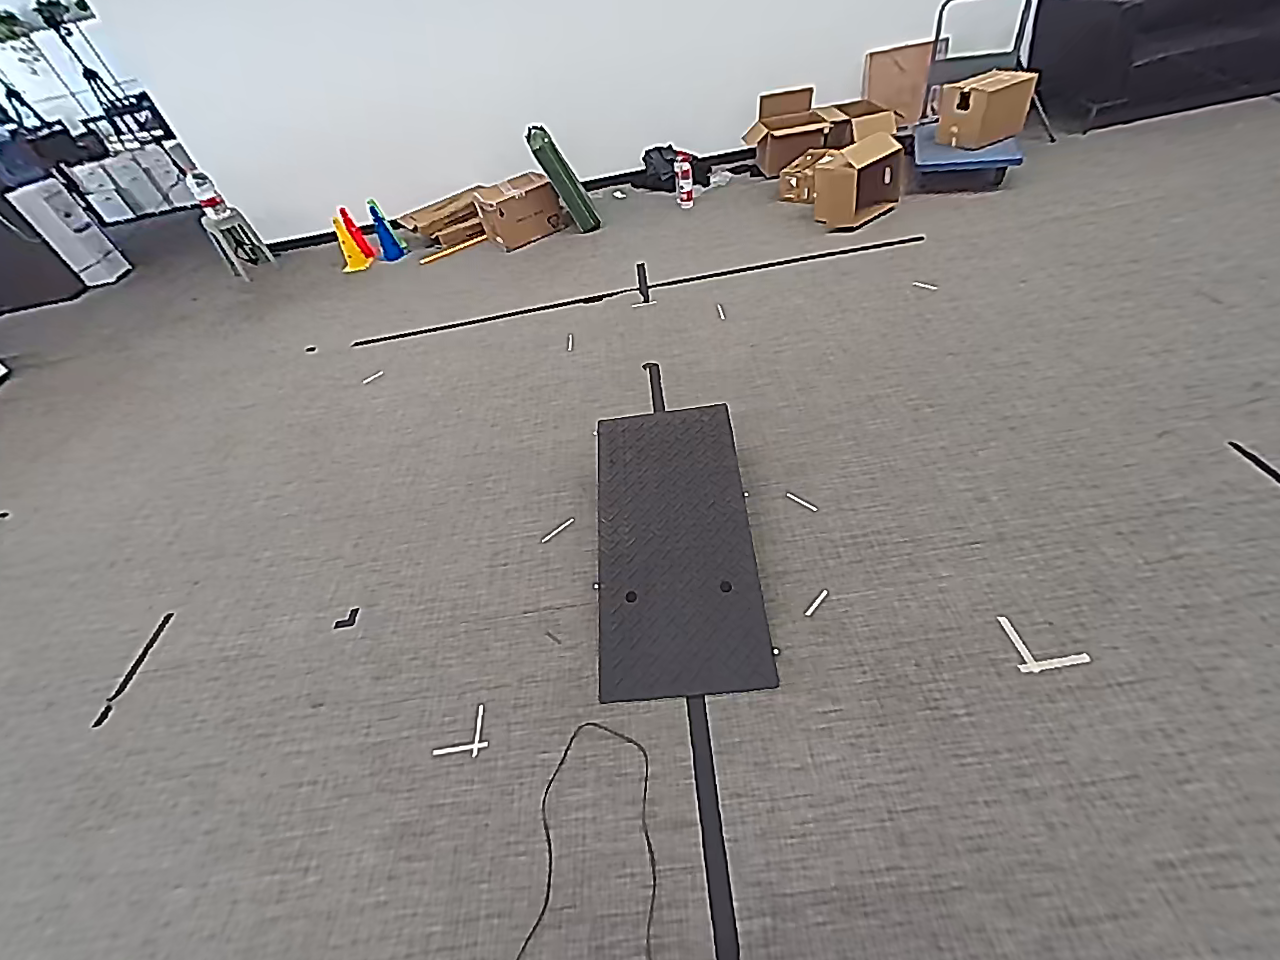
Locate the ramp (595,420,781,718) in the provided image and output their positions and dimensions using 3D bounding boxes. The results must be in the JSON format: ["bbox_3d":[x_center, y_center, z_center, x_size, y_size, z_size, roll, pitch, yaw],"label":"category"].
[{"bbox_3d":[0.108,0.217,1.752,0.509,0.206,0.991,-9,44,3],"label":"ramp"}]
